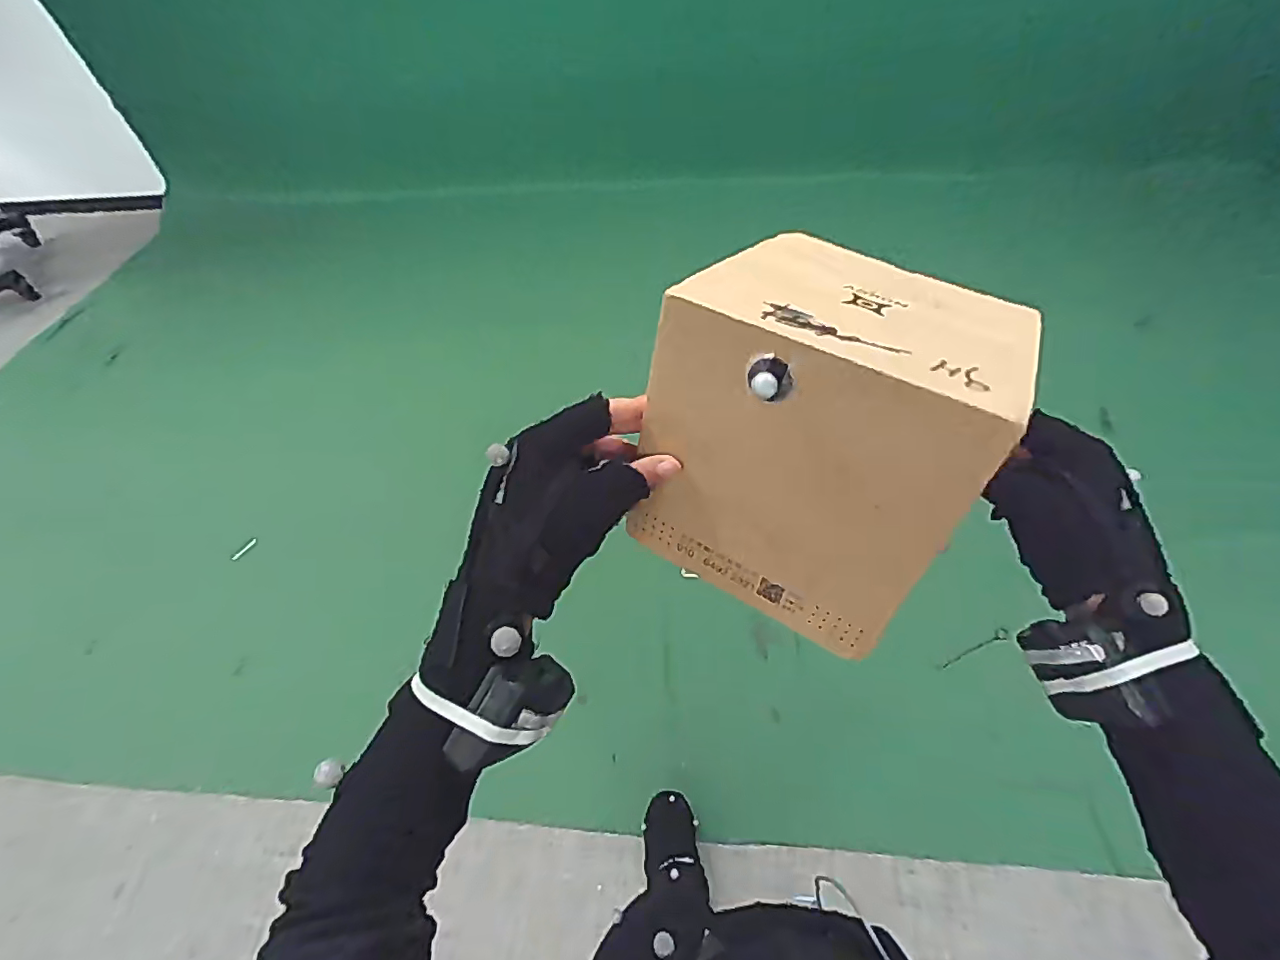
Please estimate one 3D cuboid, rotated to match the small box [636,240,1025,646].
[{"bbox_3d":[0.113,-0.033,0.354,0.168,0.176,0.179,28,43,20],"label":"small box"}]
